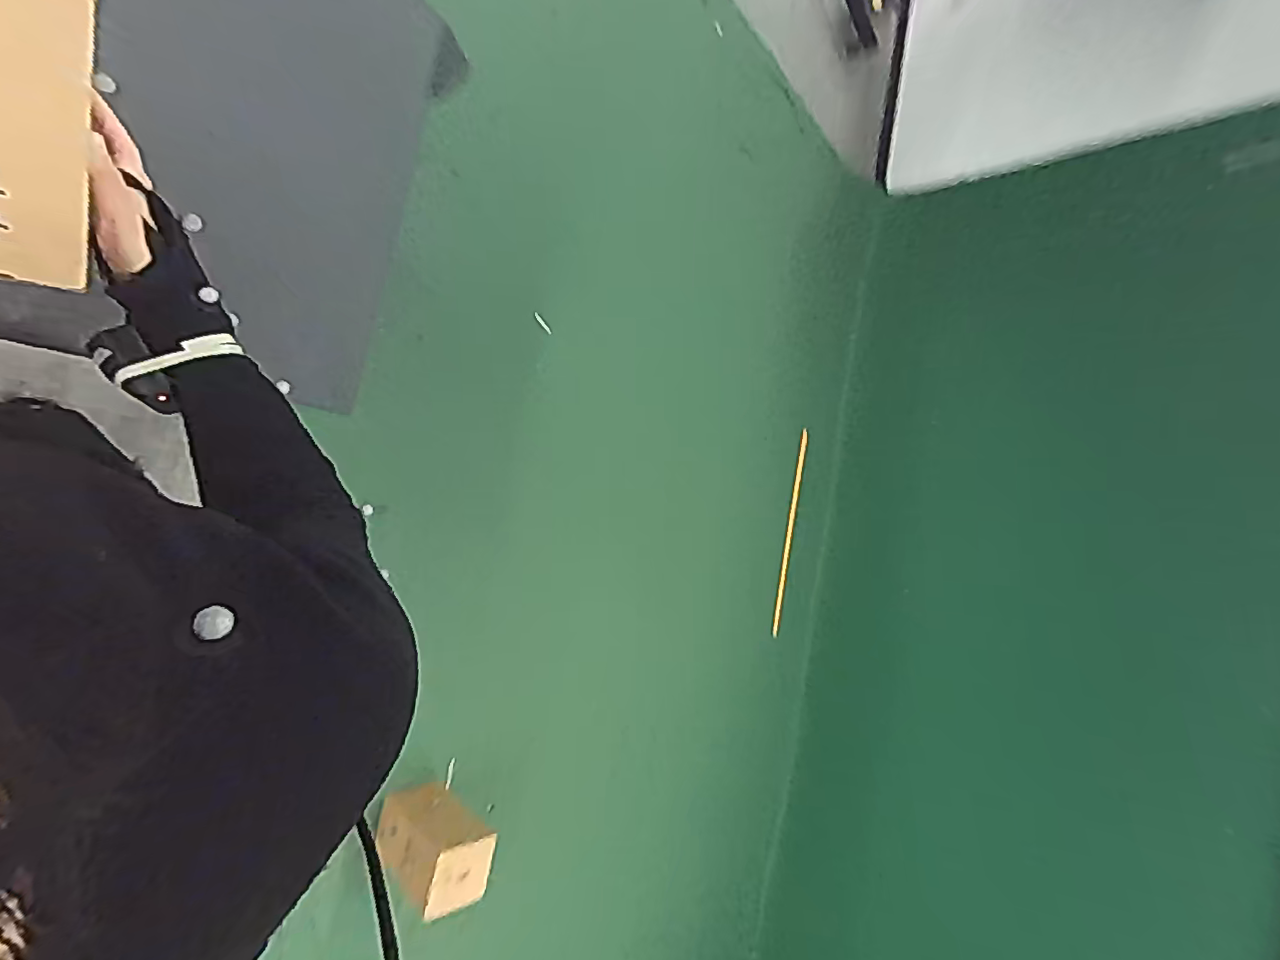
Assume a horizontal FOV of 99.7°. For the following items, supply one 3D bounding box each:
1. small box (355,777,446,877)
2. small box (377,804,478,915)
[{"bbox_3d":[-0.701,1.002,1.576,0.179,0.176,0.168,15,84,-49],"label":"small box"},{"bbox_3d":[-0.577,1.015,1.467,0.179,0.176,0.168,18,81,-49],"label":"small box"}]
